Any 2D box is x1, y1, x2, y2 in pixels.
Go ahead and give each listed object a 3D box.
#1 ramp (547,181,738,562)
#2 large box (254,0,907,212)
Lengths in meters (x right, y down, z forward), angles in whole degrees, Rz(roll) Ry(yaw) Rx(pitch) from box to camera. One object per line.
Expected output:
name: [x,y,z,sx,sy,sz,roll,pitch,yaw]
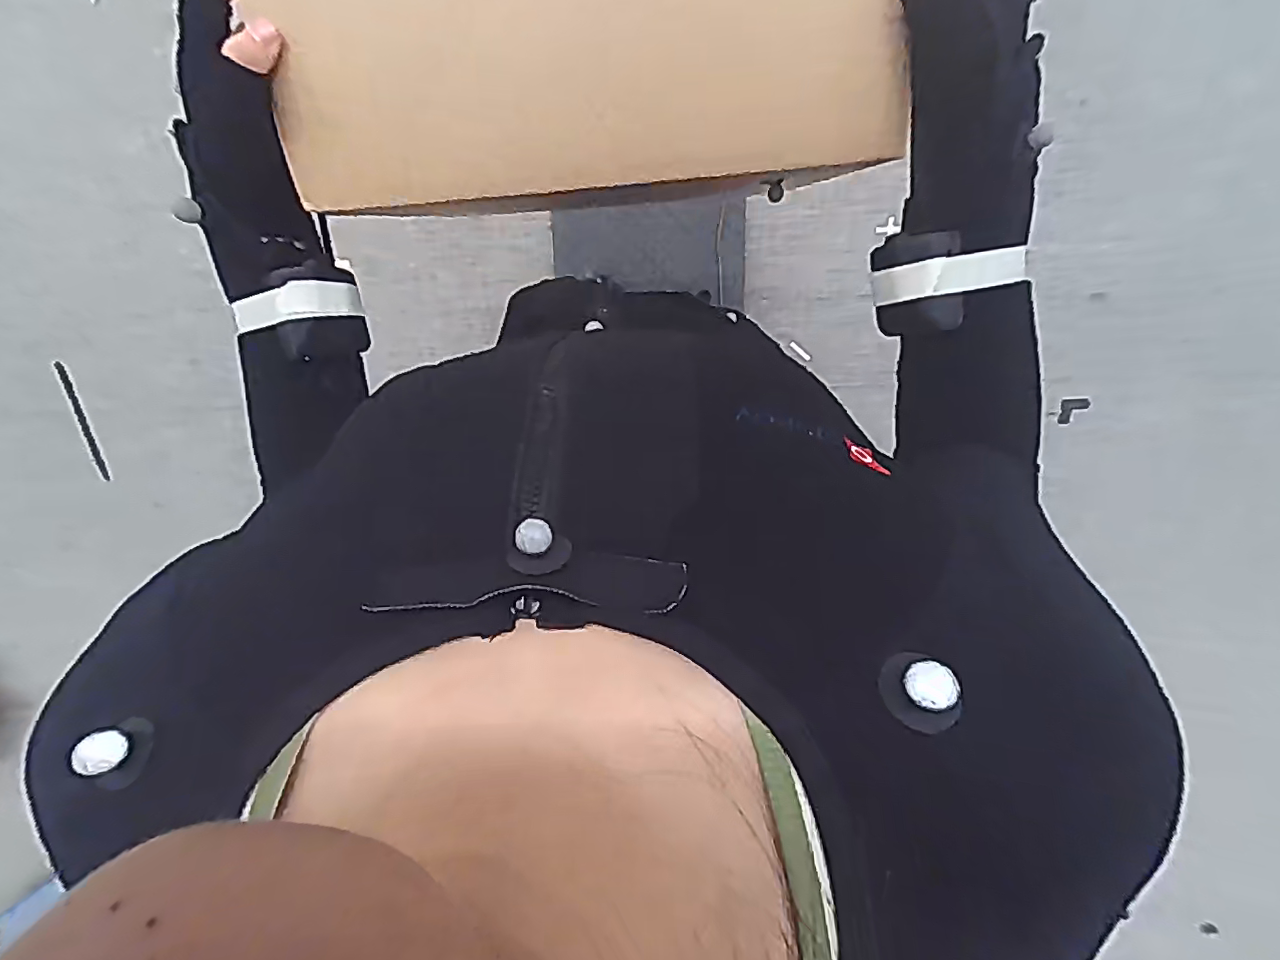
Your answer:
ramp: [0.012,-0.263,1.443,0.509,0.206,0.991,-2,110,6]
large box: [-0.037,-0.407,0.439,0.408,0.320,0.320,-3,115,3]
